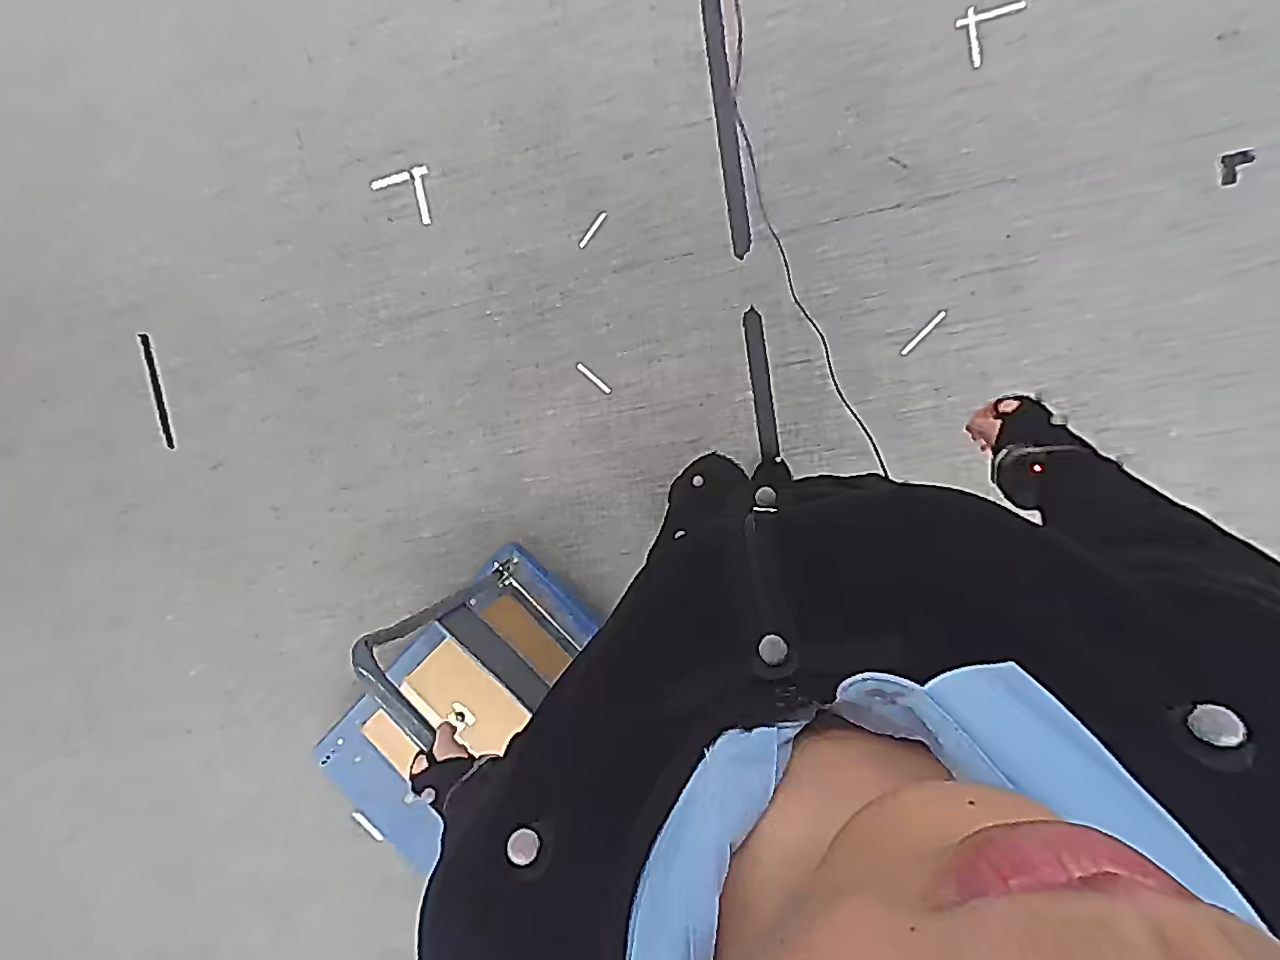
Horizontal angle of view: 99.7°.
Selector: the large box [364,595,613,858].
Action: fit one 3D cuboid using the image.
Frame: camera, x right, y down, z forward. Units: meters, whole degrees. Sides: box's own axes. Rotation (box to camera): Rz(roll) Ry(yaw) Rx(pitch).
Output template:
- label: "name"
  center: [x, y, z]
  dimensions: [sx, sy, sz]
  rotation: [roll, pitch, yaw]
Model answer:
- label: "large box"
  center: [-0.329, 0.549, 1.275]
  dimensions: [0.408, 0.320, 0.320]
  rotation: [45, 98, 3]
